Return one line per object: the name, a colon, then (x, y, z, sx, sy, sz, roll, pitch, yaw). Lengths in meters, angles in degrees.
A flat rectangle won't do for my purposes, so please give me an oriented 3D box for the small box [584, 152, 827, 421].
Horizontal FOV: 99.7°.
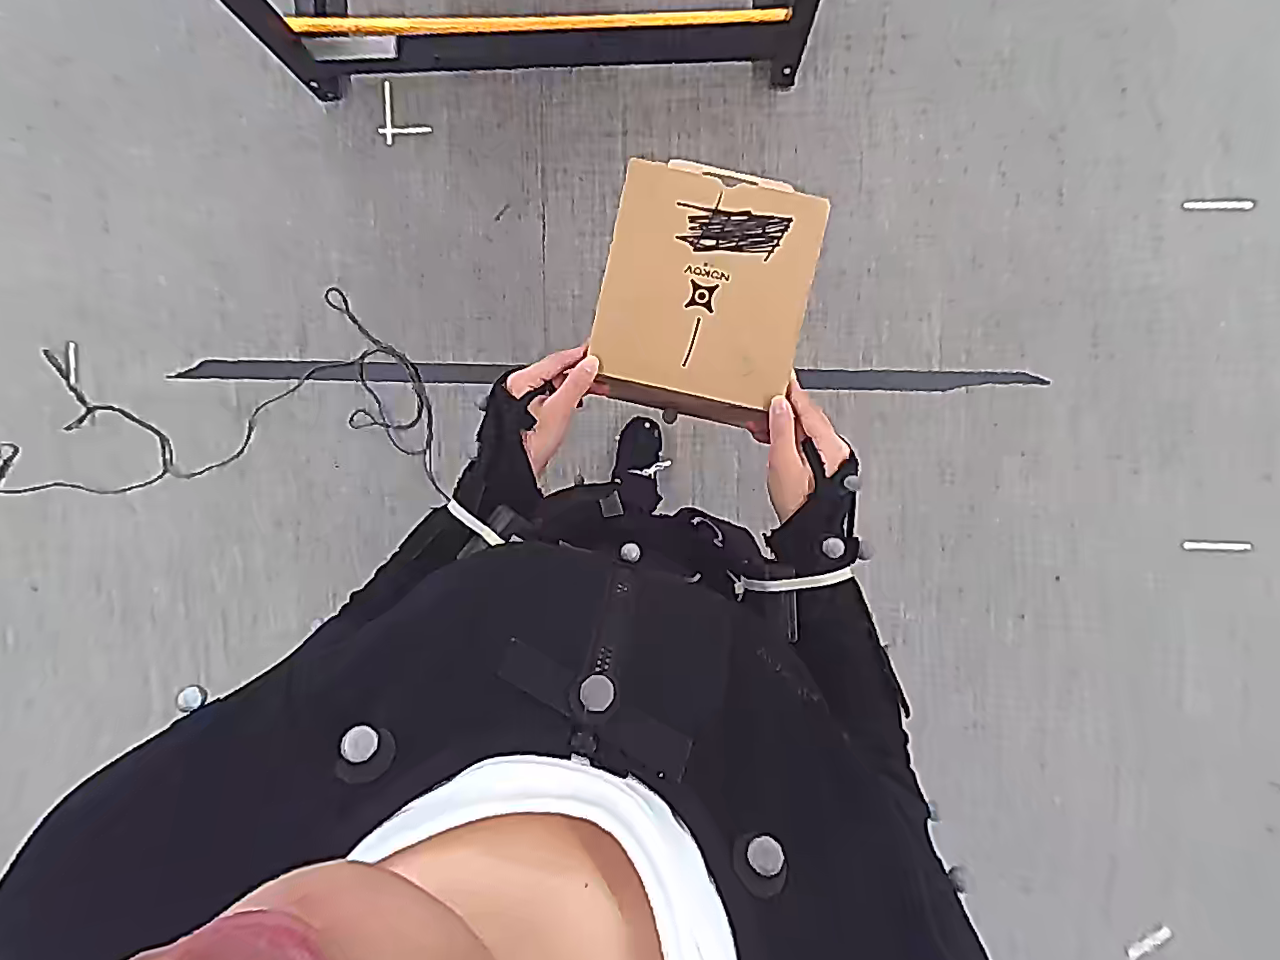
small box: (0.054, -0.163, 0.514, 0.168, 0.176, 0.179, 13, 92, 2)
